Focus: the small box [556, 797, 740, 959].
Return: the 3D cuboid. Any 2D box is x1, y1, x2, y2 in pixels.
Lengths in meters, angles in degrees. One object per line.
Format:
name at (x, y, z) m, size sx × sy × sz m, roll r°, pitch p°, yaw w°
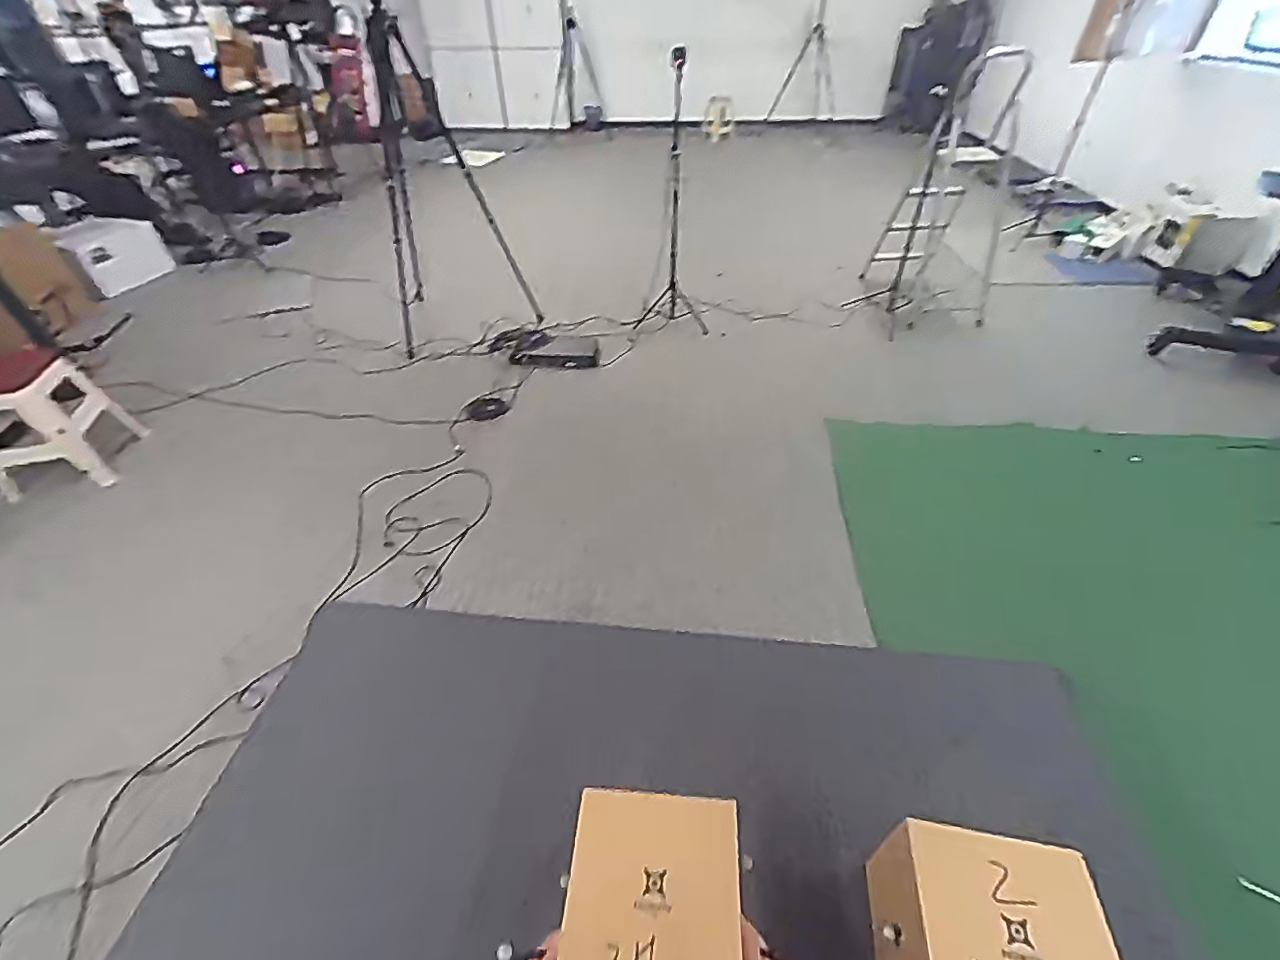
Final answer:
small box at (0.013, 0.462, 0.563) m, size 0.168 × 0.176 × 0.179 m, roll 1°, pitch 41°, yaw 6°
